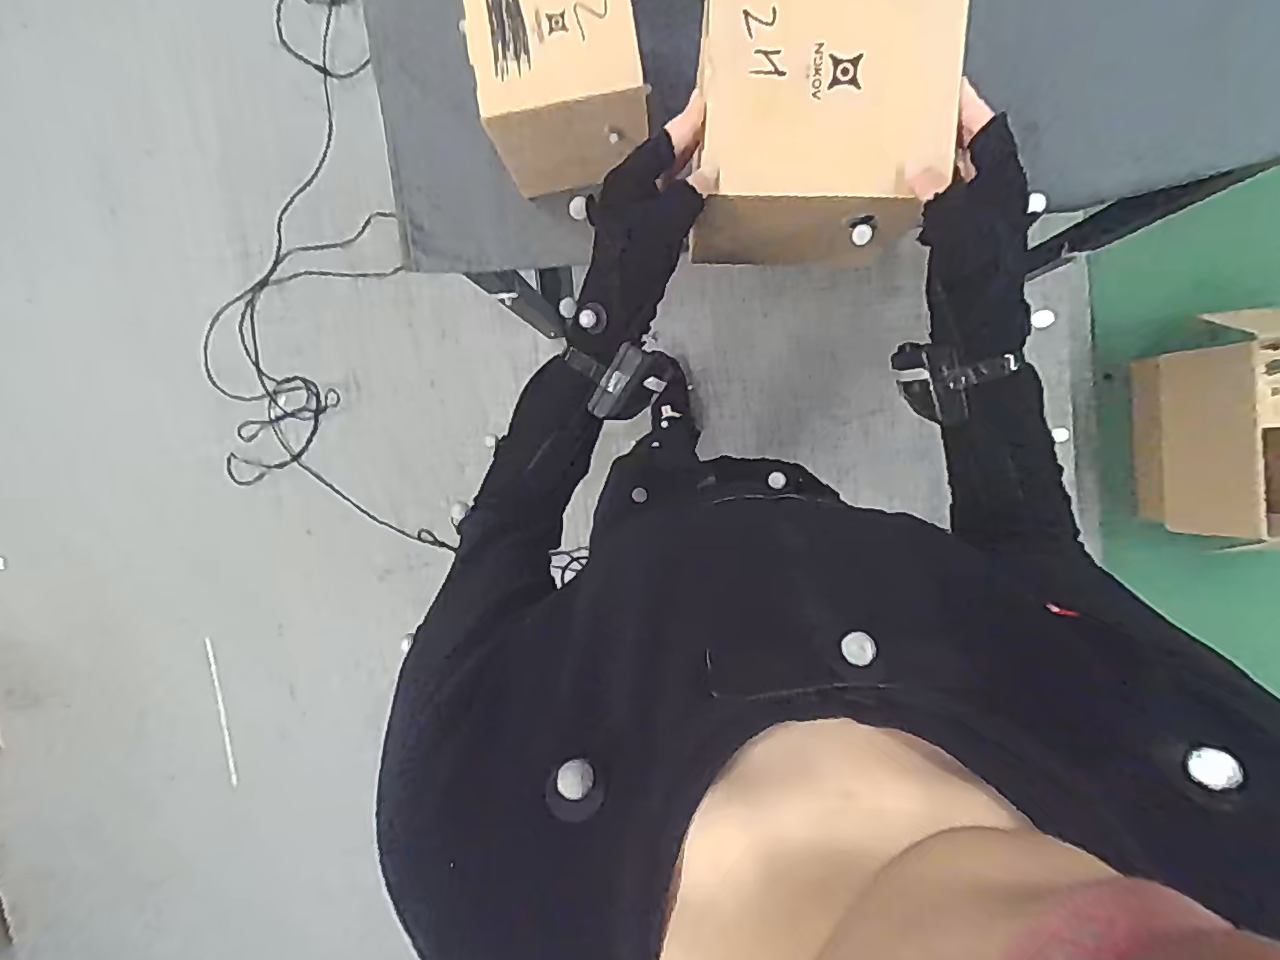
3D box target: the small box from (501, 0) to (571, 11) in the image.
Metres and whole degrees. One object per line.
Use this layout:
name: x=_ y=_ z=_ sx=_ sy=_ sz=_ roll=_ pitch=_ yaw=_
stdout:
small box: x=-0.108 y=-0.693 z=0.615 sx=0.179 sy=0.176 sz=0.168 roll=-7 pitch=94 yaw=6

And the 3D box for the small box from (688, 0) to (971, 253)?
small box: x=0.133 y=-0.295 z=0.440 sx=0.179 sy=0.176 sz=0.168 roll=3 pitch=97 yaw=3
